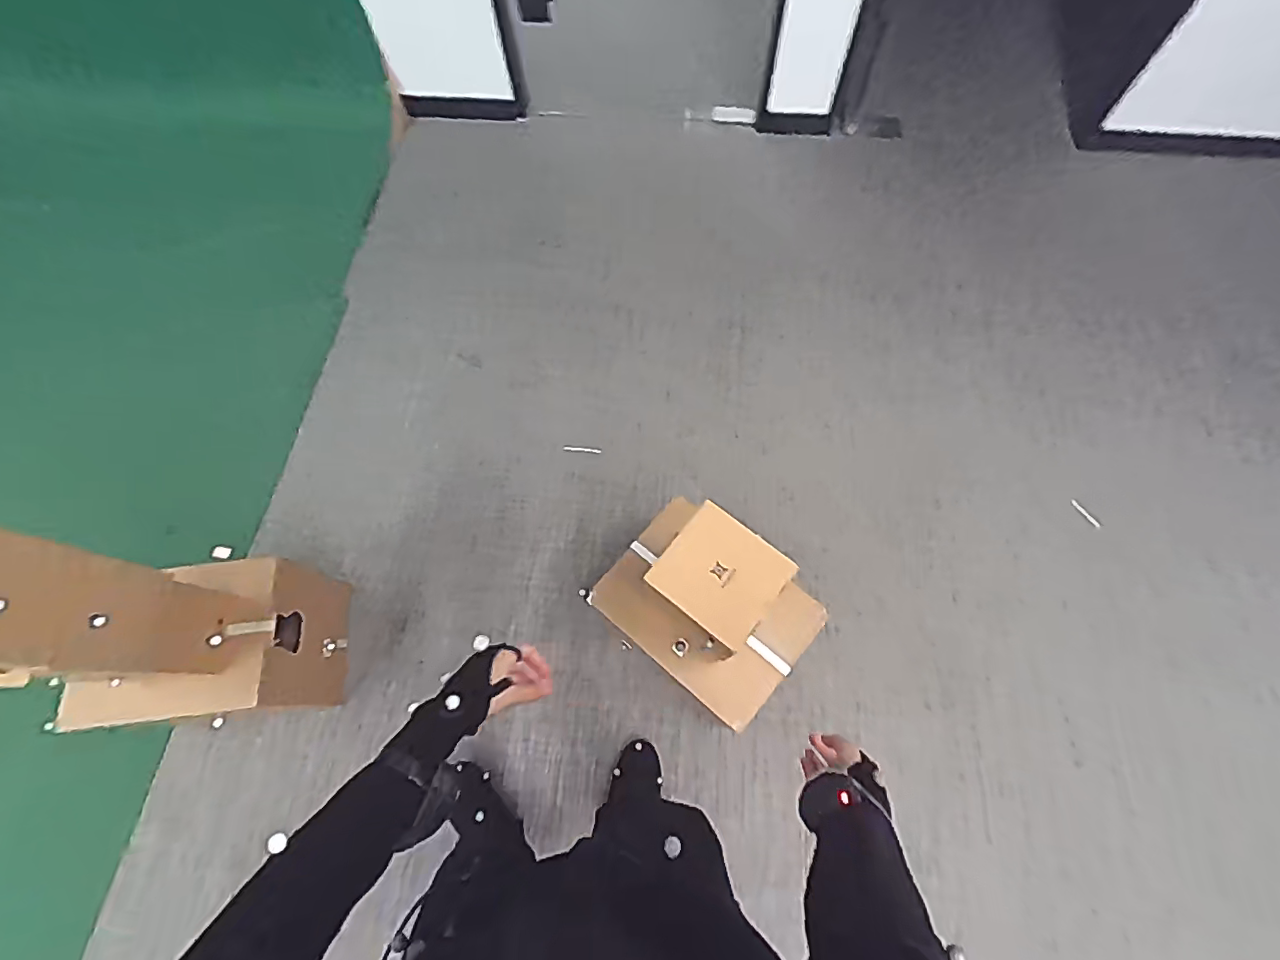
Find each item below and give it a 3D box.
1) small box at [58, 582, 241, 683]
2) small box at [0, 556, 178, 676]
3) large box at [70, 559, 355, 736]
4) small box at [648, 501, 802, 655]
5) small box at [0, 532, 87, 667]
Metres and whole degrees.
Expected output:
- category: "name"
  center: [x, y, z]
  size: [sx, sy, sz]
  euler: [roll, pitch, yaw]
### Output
- category: "small box"
  center: [-0.928, 0.298, 1.042]
  size: [0.179, 0.176, 0.168]
  euler: [-4, 69, 0]
- category: "small box"
  center: [-0.923, 0.231, 0.893]
  size: [0.168, 0.176, 0.179]
  euler: [-2, 68, 1]
- category: "large box"
  center: [-0.947, 0.397, 1.267]
  size: [0.408, 0.320, 0.320]
  euler: [-8, 66, 0]
- category: "small box"
  center: [0.127, 0.169, 0.882]
  size: [0.179, 0.176, 0.168]
  euler: [37, 73, 14]
- category: "small box"
  center: [-0.933, 0.166, 0.742]
  size: [0.168, 0.176, 0.179]
  euler: [-3, 69, 0]
